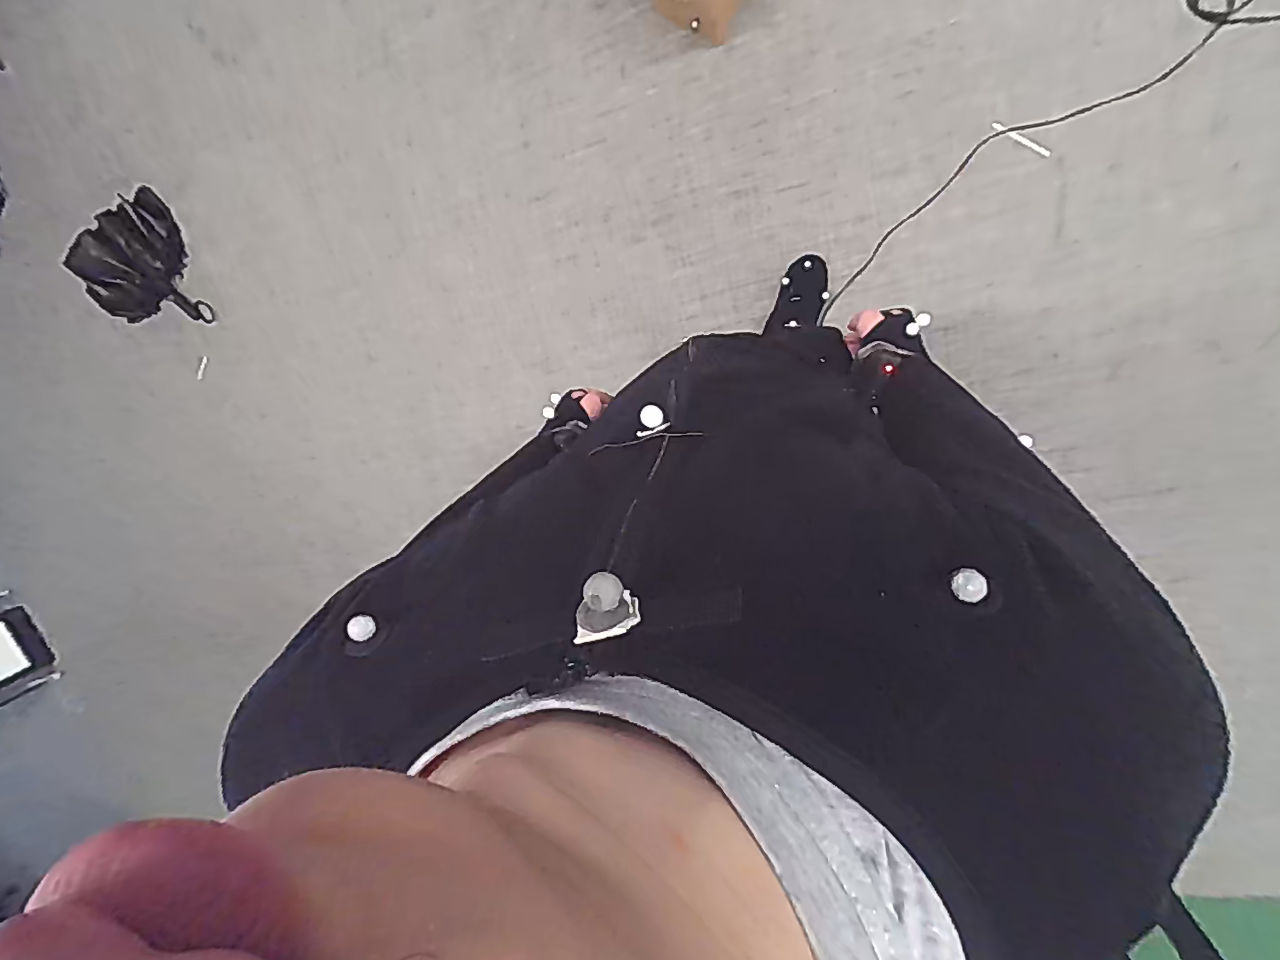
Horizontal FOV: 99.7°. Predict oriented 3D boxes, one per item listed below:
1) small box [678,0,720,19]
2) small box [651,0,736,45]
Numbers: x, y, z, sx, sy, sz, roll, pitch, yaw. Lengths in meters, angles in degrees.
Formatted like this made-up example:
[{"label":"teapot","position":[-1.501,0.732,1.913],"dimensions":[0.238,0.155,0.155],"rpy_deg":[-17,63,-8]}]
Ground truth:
[{"label":"small box","position":[0.107,-1.024,1.000],"dimensions":[0.168,0.176,0.179],"rpy_deg":[36,112,-2]},{"label":"small box","position":[0.124,-1.086,1.152],"dimensions":[0.168,0.176,0.179],"rpy_deg":[29,110,1]}]
